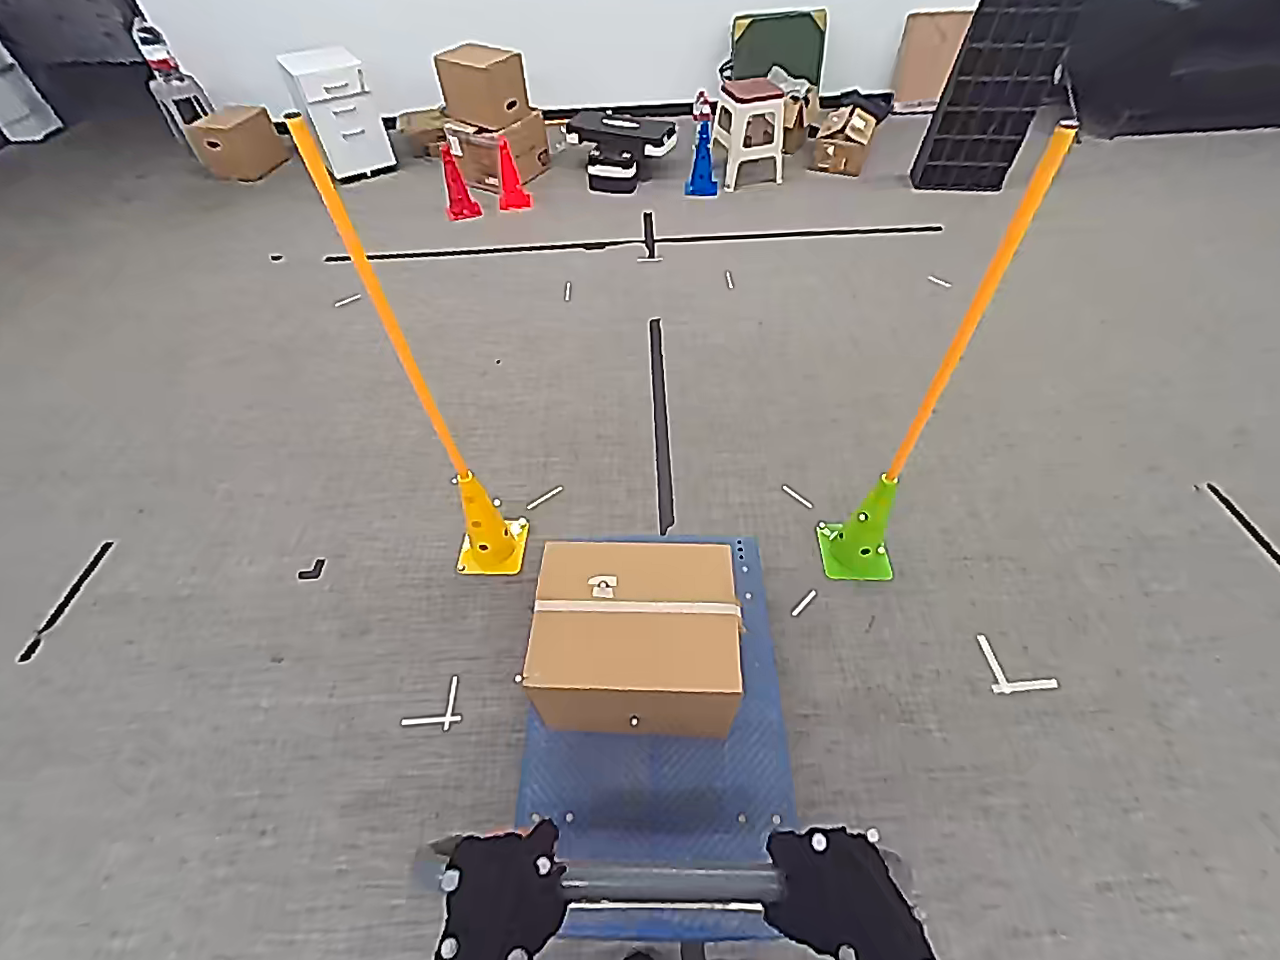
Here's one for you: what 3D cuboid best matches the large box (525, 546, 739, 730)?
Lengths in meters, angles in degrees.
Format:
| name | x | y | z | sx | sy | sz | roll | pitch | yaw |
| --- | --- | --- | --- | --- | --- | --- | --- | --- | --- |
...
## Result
| name | x | y | z | sx | sy | sz | roll | pitch | yaw |
| --- | --- | --- | --- | --- | --- | --- | --- | --- | --- |
| large box | -0.005 | 0.358 | 1.202 | 0.408 | 0.320 | 0.320 | 0 | 51 | 3 |

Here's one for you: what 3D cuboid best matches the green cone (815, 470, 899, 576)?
| name | x | y | z | sx | sy | sz | roll | pitch | yaw |
| --- | --- | --- | --- | --- | --- | --- | --- | --- | --- |
| green cone | 0.660 | 0.105 | 1.562 | 0.202 | 0.368 | 0.200 | 1 | 51 | 2 |
